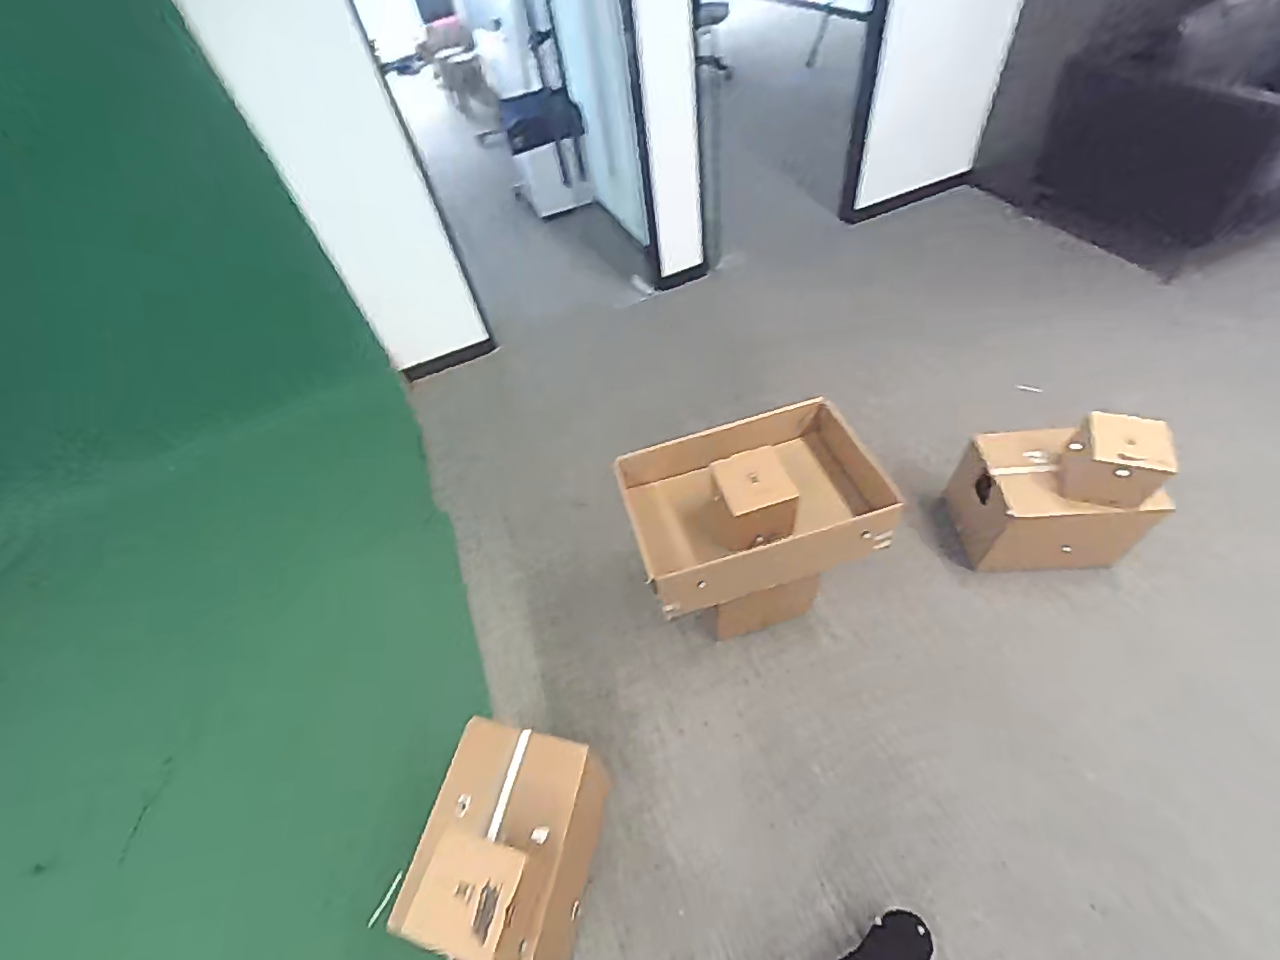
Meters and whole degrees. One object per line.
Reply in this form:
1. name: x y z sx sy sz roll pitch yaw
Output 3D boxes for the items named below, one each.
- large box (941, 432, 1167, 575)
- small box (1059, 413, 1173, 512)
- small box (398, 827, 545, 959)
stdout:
1. large box: 1.219 0.076 1.652 0.408 0.320 0.320 -4 50 7
2. small box: 1.240 -0.045 1.427 0.168 0.176 0.179 12 55 18
3. small box: -0.295 0.768 0.995 0.179 0.176 0.168 8 52 16
